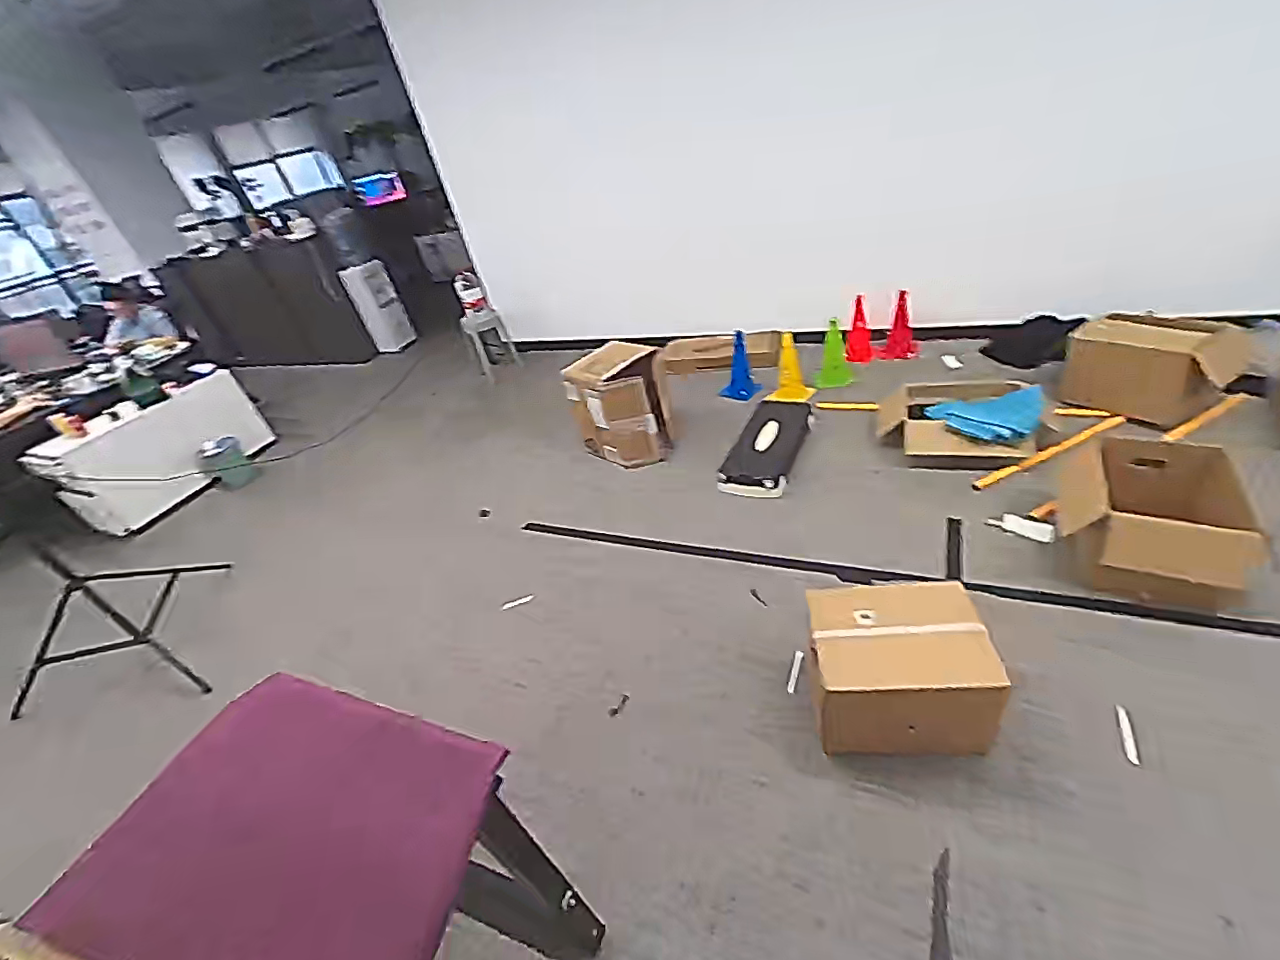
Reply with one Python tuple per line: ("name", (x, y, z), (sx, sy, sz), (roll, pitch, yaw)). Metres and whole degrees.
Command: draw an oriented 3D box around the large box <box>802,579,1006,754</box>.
("large box", (0.667, 0.500, 1.439), (0.408, 0.320, 0.320), (-8, 35, 12))
